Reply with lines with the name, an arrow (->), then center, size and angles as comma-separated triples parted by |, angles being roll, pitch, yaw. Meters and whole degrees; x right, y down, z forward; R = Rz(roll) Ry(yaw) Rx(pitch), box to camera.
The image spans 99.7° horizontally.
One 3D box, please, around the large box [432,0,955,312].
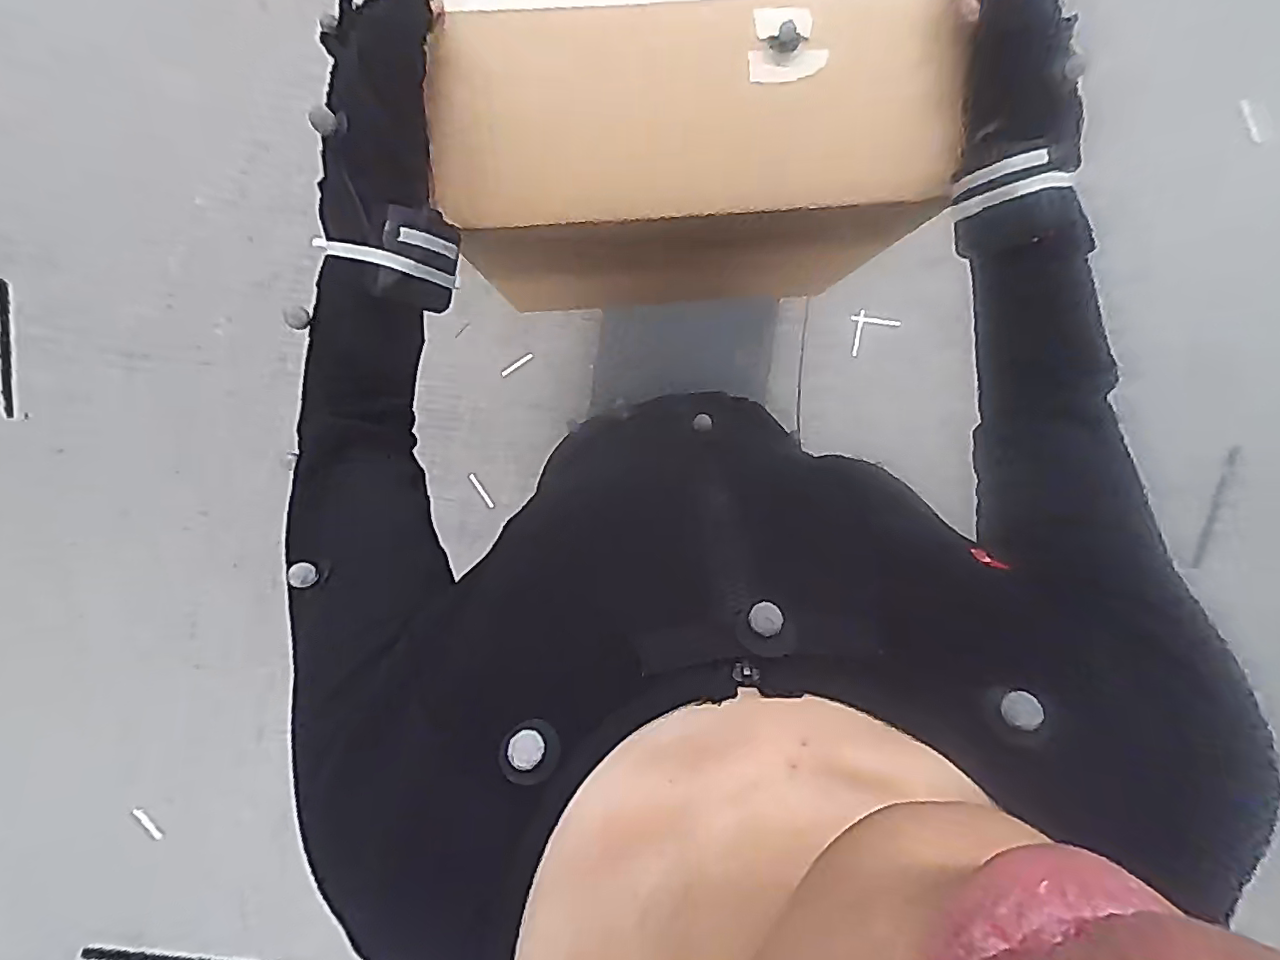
large box -> 0.035, -0.375, 0.558 | 0.408, 0.320, 0.320 | -4, 96, -1
